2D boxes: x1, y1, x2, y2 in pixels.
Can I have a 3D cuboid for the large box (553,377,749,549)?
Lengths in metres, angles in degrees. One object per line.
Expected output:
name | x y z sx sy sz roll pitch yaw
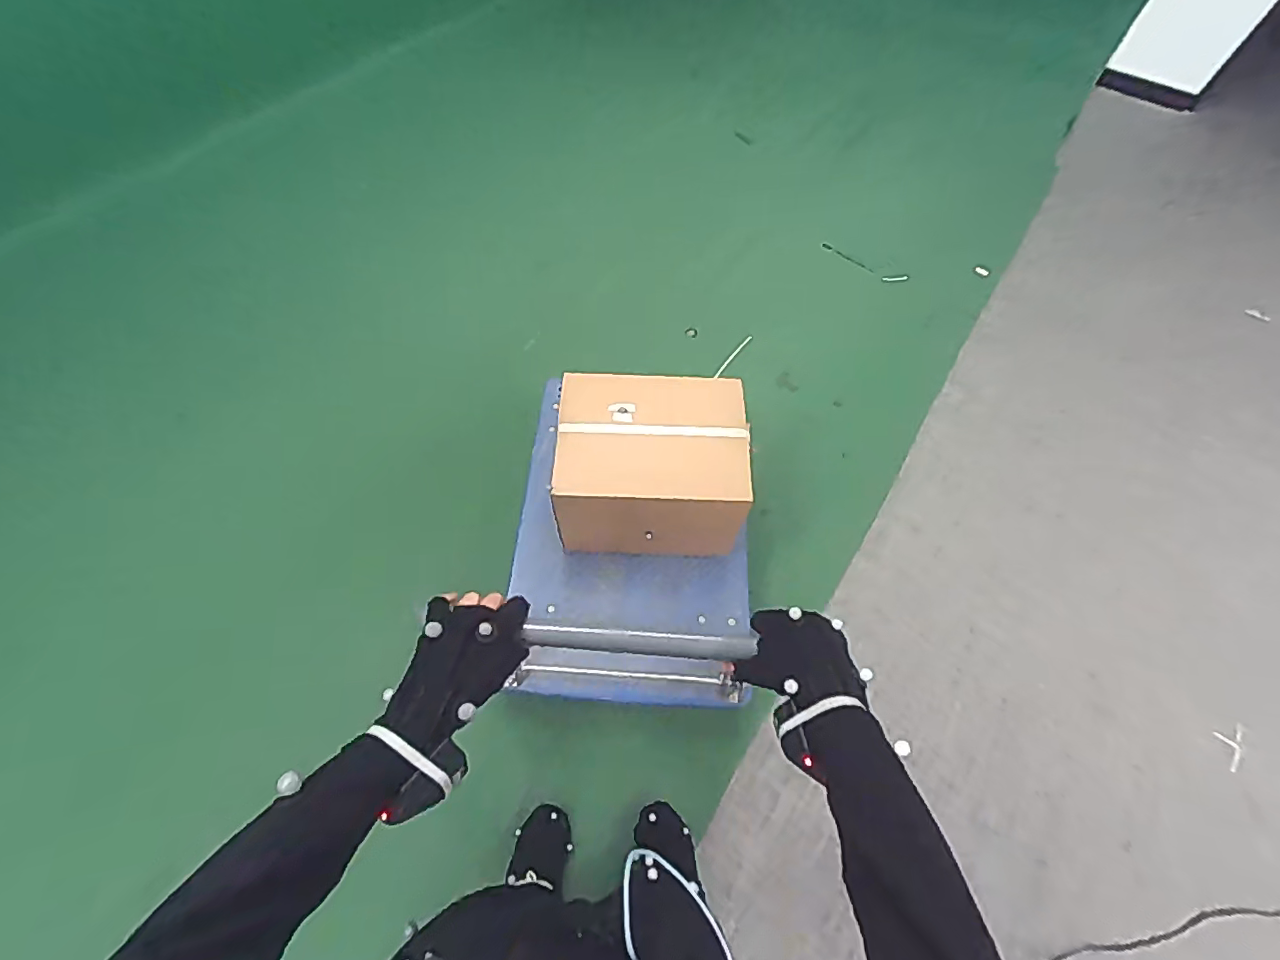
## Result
large box | 0.021 -0.029 1.287 0.408 0.320 0.320 1 61 -1
